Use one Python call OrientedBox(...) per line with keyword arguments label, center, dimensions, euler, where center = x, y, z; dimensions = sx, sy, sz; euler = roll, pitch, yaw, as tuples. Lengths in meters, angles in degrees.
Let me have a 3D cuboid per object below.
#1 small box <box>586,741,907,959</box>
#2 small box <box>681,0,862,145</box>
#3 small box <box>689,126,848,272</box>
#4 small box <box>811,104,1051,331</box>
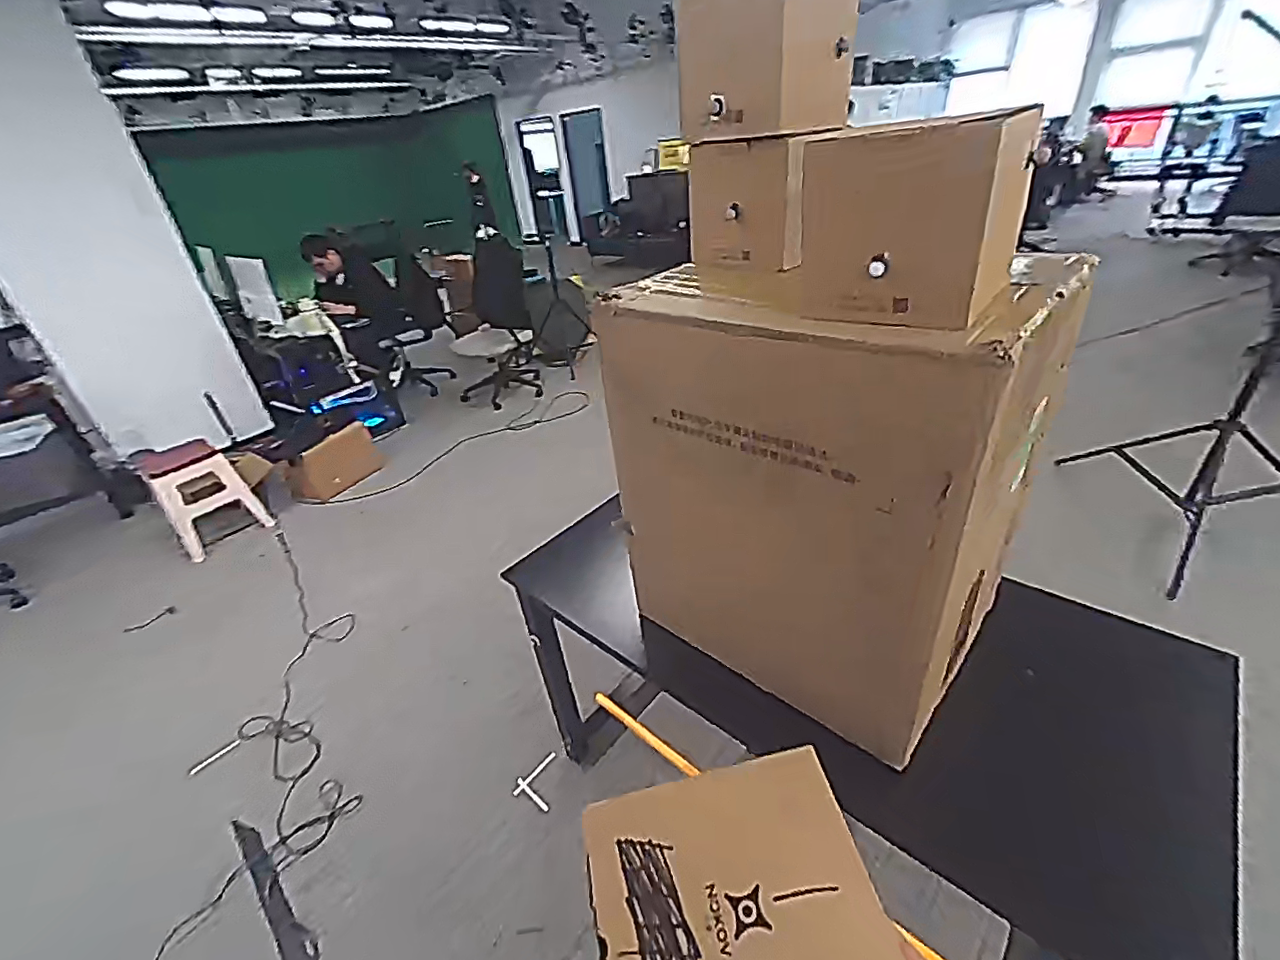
OrientedBox(label="small box", center=(0.071, 0.322, 0.385), dimensions=(0.179, 0.176, 0.168), euler=(-13, 40, -2))
OrientedBox(label="small box", center=(0.171, -0.552, 0.720), dimensions=(0.168, 0.176, 0.179), euler=(23, 43, 39))
OrientedBox(label="small box", center=(0.194, -0.422, 0.818), dimensions=(0.168, 0.176, 0.179), euler=(23, 43, 37))
OrientedBox(label="small box", center=(0.283, -0.265, 0.549), dimensions=(0.168, 0.176, 0.179), euler=(18, 41, 37))
